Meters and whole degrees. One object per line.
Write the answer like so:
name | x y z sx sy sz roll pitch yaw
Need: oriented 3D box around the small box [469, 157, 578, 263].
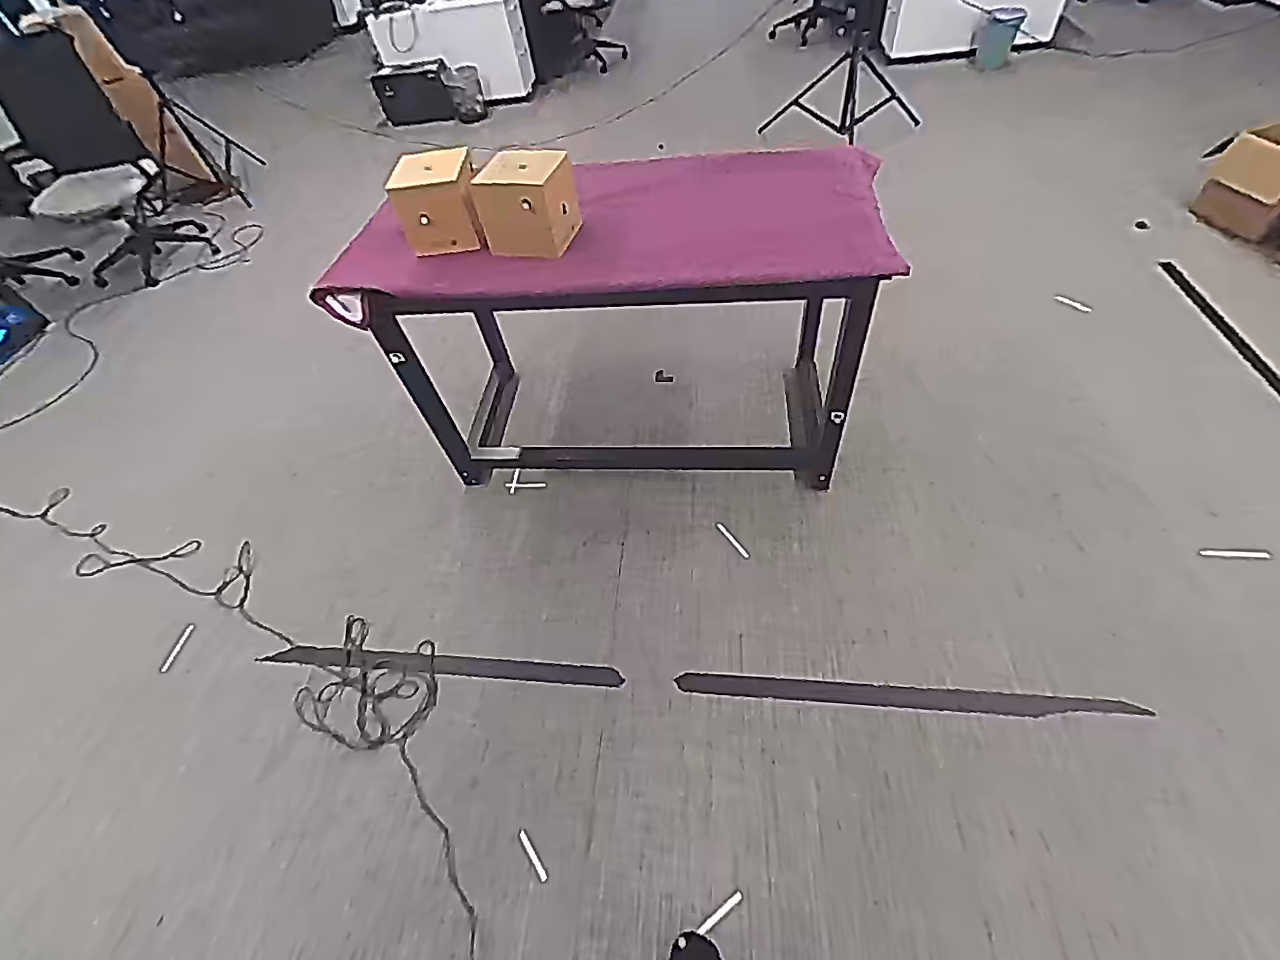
small box | -0.259 -0.623 1.253 0.179 0.176 0.168 8 52 14

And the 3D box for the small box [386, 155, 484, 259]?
small box | -0.481 -0.654 1.312 0.168 0.176 0.179 -6 52 3
